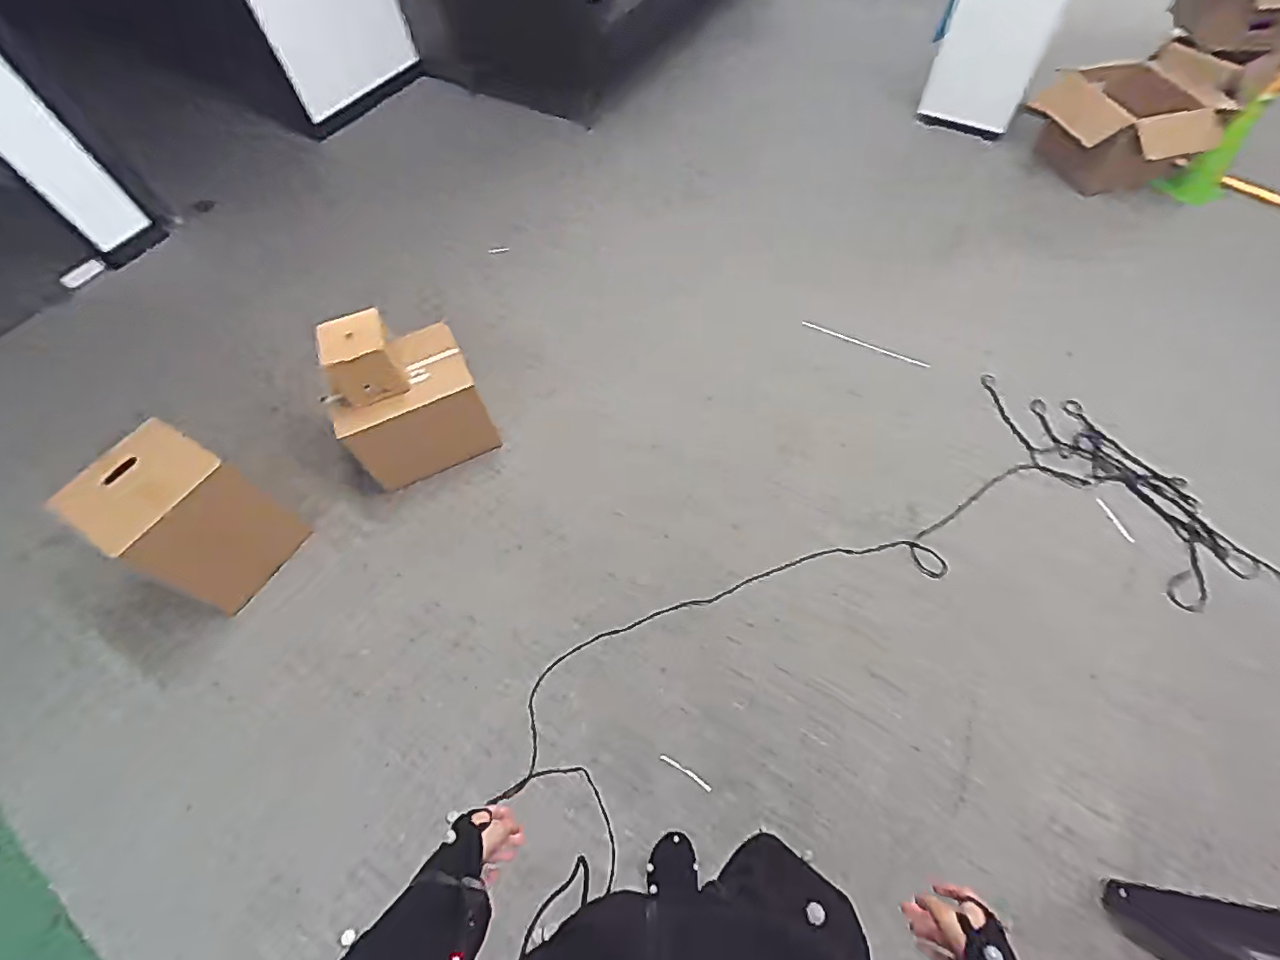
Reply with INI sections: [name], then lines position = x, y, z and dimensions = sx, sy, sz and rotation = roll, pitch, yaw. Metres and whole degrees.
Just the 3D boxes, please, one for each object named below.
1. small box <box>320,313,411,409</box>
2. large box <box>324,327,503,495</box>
[small box]
position = -0.769, -0.332, 1.520
dimensions = 0.168, 0.176, 0.179
rotation = -21, 59, -9
[large box]
position = -0.710, -0.217, 1.731
dimensions = 0.408, 0.320, 0.320
rotation = -25, 60, -12
